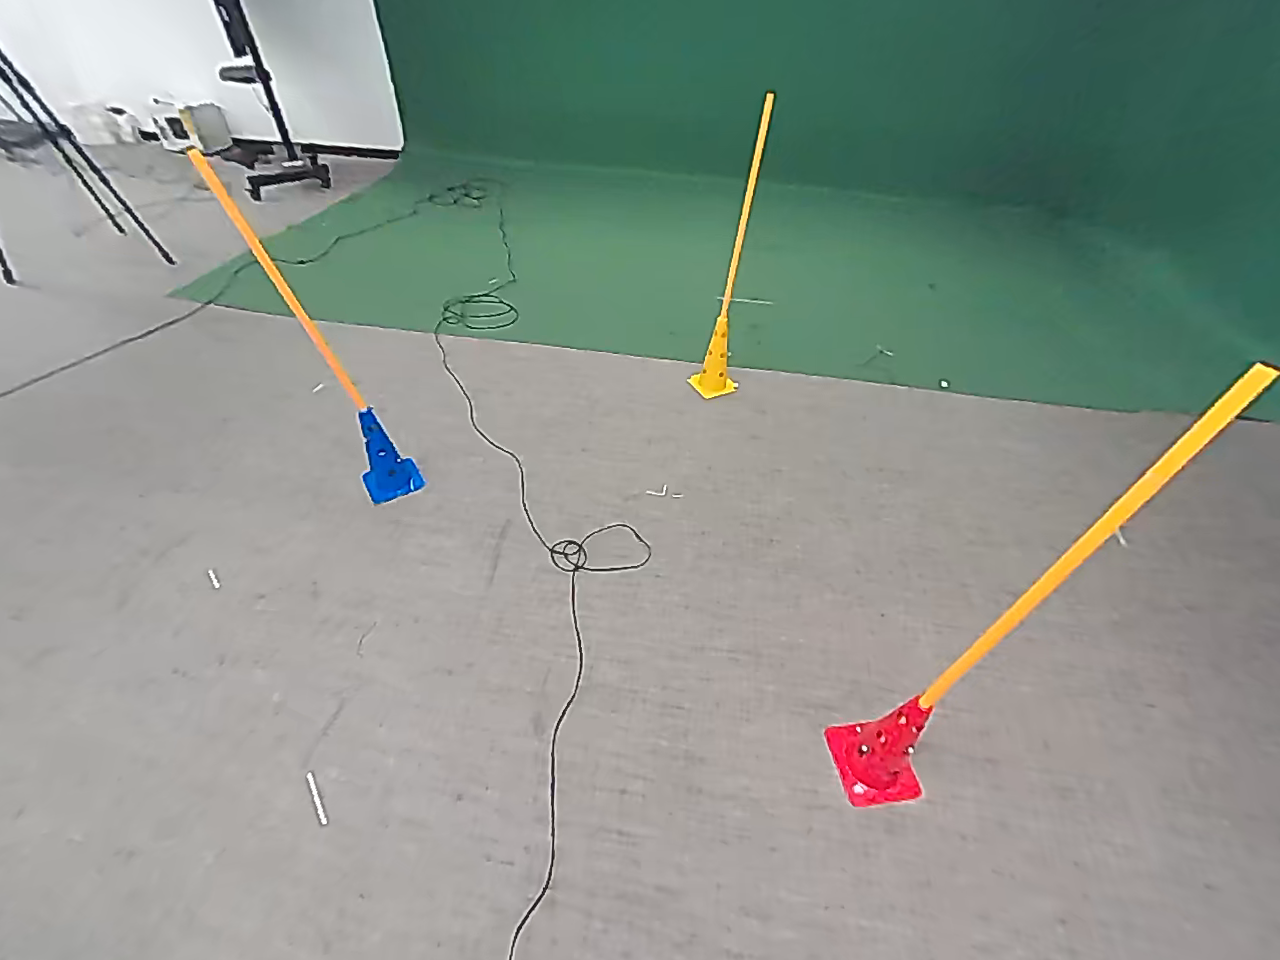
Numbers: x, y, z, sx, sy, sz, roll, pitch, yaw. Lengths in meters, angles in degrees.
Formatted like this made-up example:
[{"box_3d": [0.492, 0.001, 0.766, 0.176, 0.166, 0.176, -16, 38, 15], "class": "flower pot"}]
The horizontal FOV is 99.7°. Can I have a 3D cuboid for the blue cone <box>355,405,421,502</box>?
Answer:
[{"box_3d": [-0.967, -0.113, 1.998, 0.193, 0.380, 0.192, -26, 52, -24], "class": "blue cone"}]
